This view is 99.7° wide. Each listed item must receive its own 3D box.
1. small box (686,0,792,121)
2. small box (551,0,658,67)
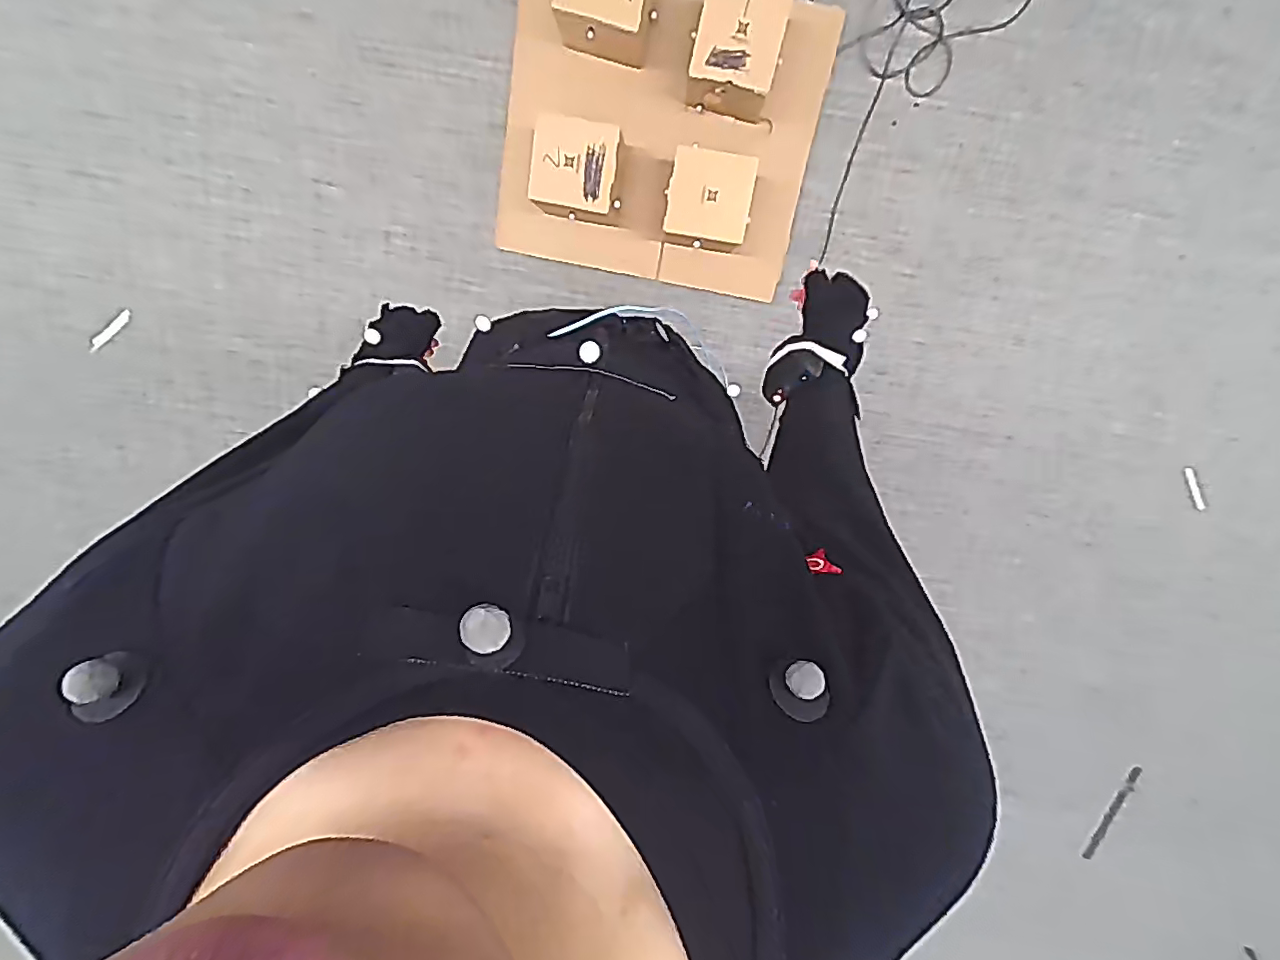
[{"bbox_3d":[0.197,-0.880,1.121,0.168,0.176,0.179,14,107,-1],"label":"small box"},{"bbox_3d":[-0.064,-0.981,1.095,0.179,0.176,0.168,15,108,-3],"label":"small box"}]
